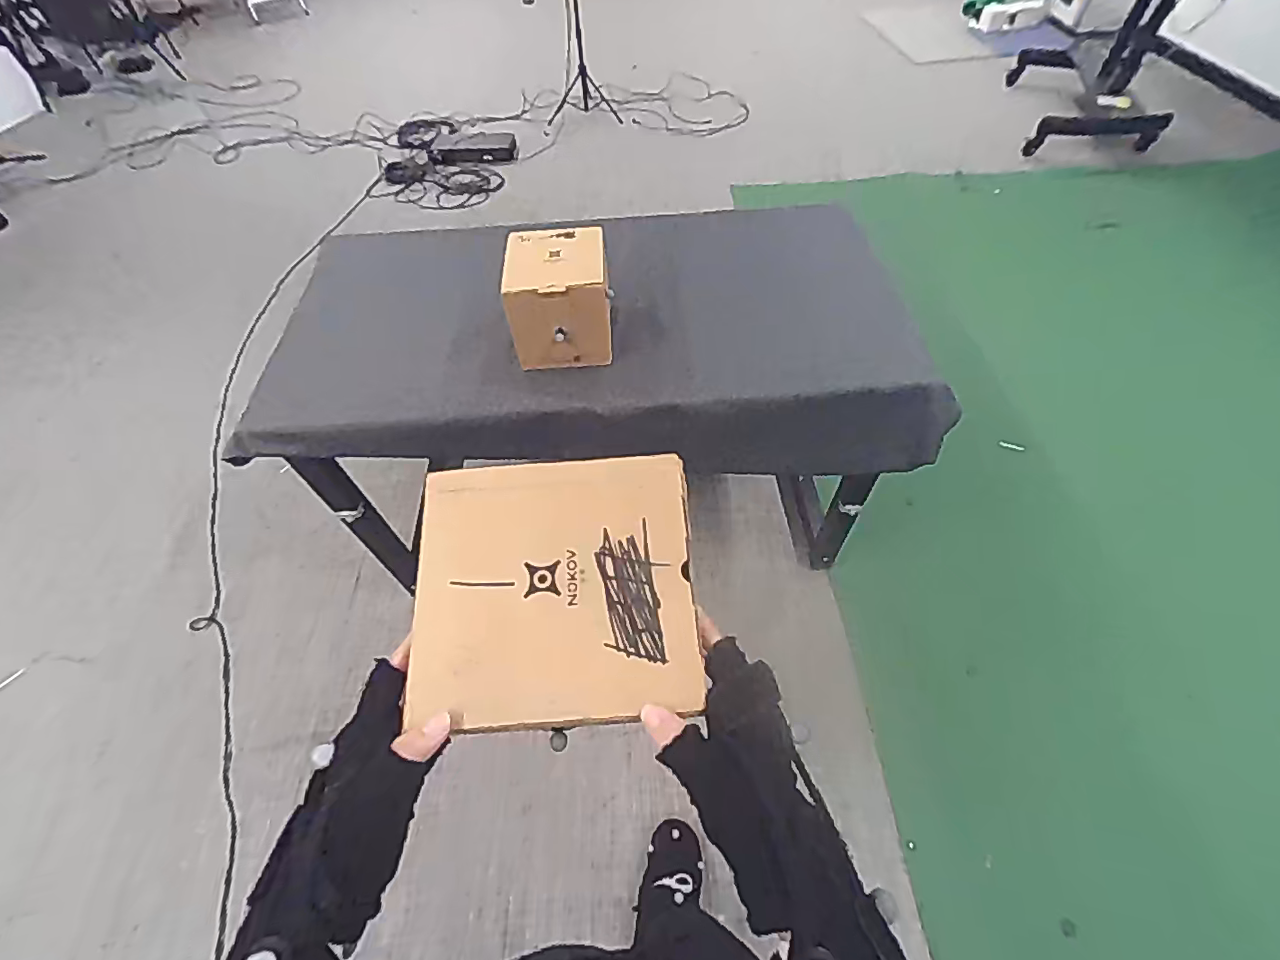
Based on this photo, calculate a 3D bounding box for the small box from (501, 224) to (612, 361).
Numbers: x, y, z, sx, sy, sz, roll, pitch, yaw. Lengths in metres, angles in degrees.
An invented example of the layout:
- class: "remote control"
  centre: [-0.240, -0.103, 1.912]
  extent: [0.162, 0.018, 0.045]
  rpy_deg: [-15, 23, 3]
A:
- class: "small box"
  centre: [-0.138, -0.325, 0.962]
  extent: [0.168, 0.176, 0.179]
  rpy_deg: [-3, 55, 0]
